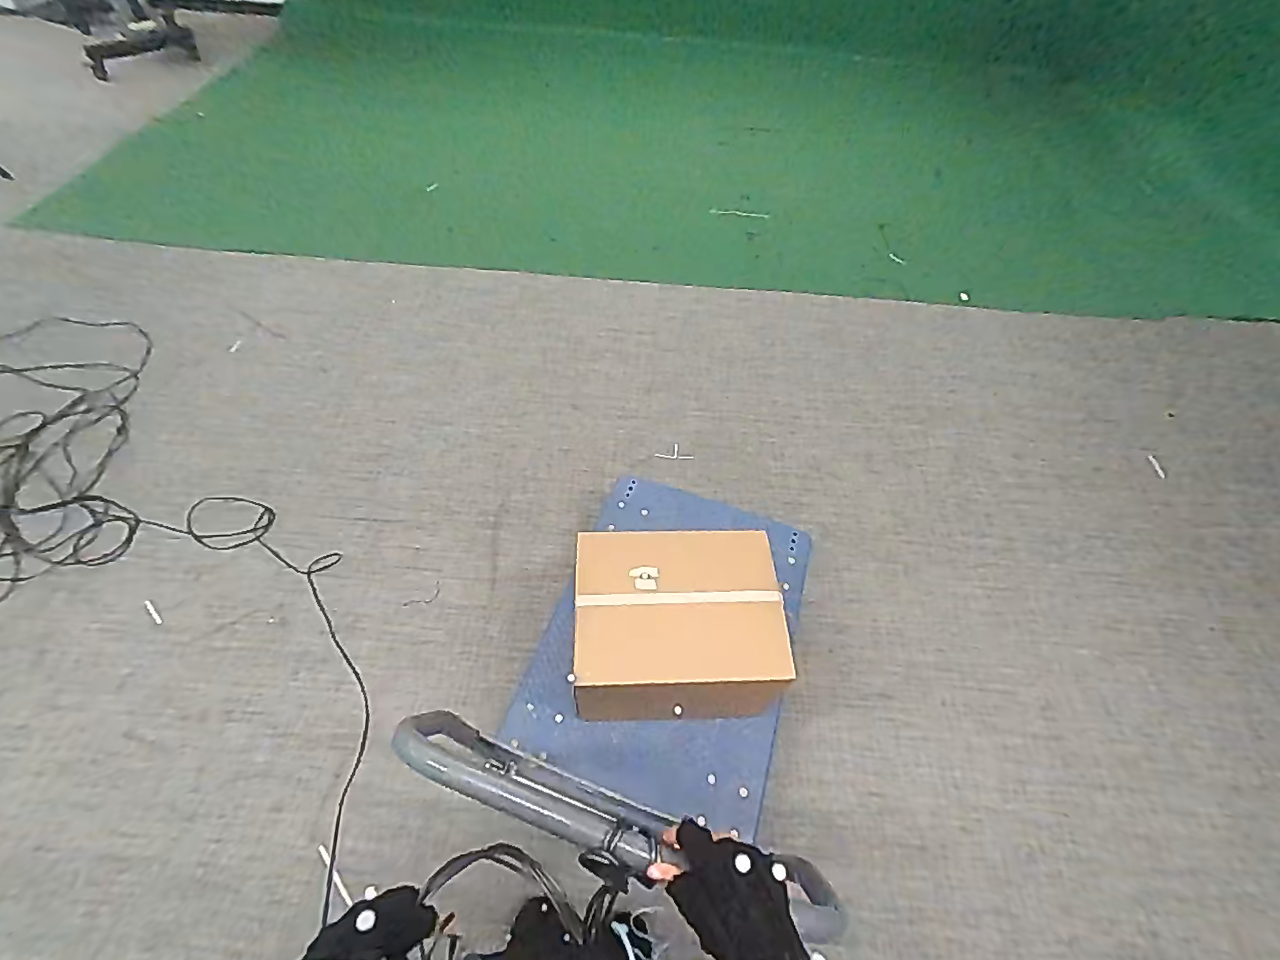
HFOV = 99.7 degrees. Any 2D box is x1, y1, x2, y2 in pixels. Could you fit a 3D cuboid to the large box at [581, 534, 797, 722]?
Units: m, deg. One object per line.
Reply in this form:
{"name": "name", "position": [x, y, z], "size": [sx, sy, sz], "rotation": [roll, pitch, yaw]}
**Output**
{"name": "large box", "position": [0.080, 0.332, 1.186], "size": [0.408, 0.320, 0.320], "rotation": [-1, 54, -3]}
